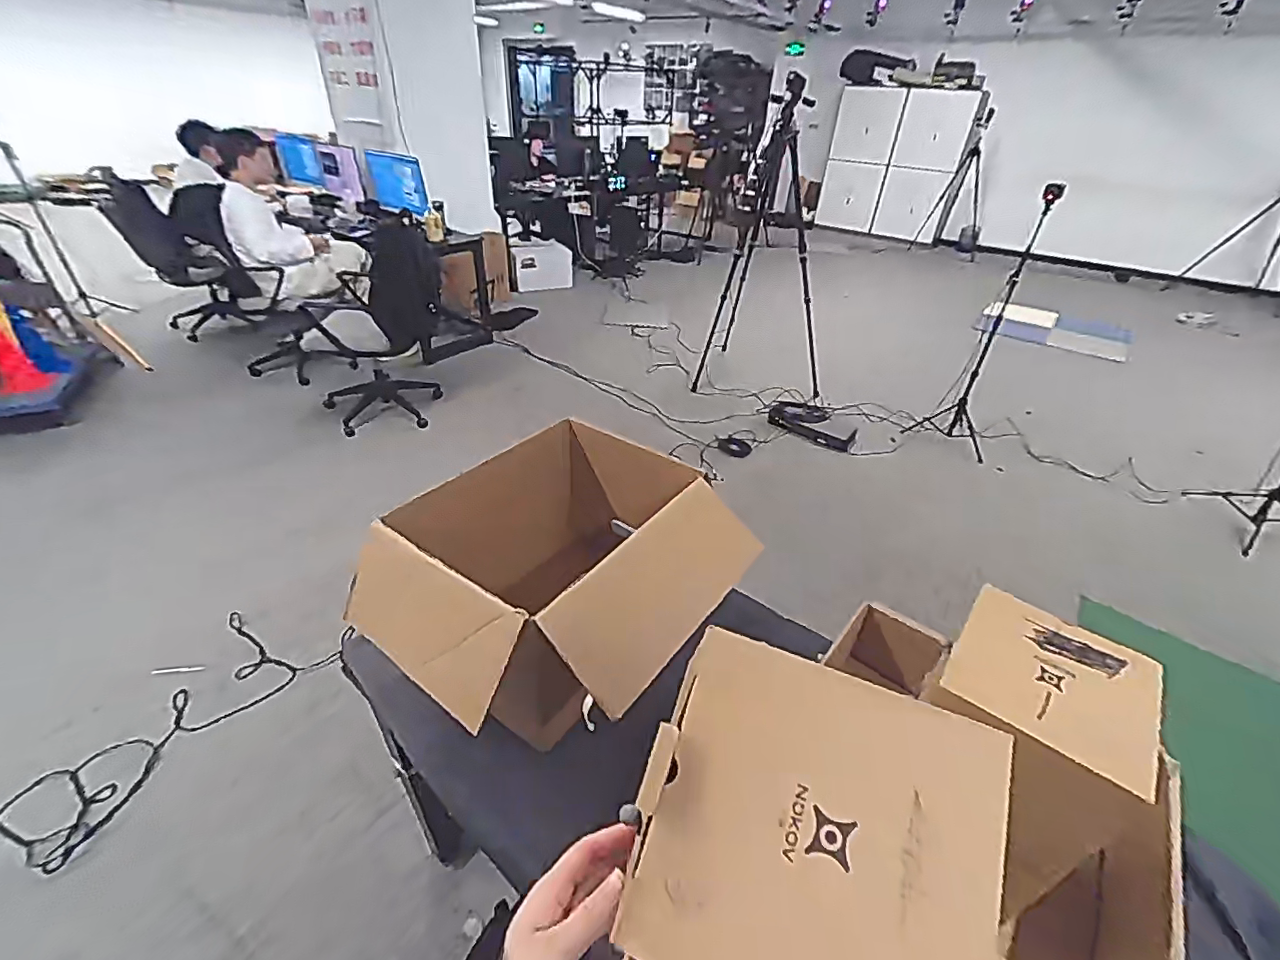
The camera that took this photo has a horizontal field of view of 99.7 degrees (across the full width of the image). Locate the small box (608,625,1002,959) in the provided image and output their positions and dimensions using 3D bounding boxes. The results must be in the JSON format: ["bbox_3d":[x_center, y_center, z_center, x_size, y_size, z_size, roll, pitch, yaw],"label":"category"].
[{"bbox_3d":[0.094,0.214,0.354,0.179,0.176,0.168,17,68,9],"label":"small box"}]

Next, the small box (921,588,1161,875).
[{"bbox_3d":[0.396,0.255,0.569,0.168,0.176,0.179,27,43,31],"label":"small box"}]
